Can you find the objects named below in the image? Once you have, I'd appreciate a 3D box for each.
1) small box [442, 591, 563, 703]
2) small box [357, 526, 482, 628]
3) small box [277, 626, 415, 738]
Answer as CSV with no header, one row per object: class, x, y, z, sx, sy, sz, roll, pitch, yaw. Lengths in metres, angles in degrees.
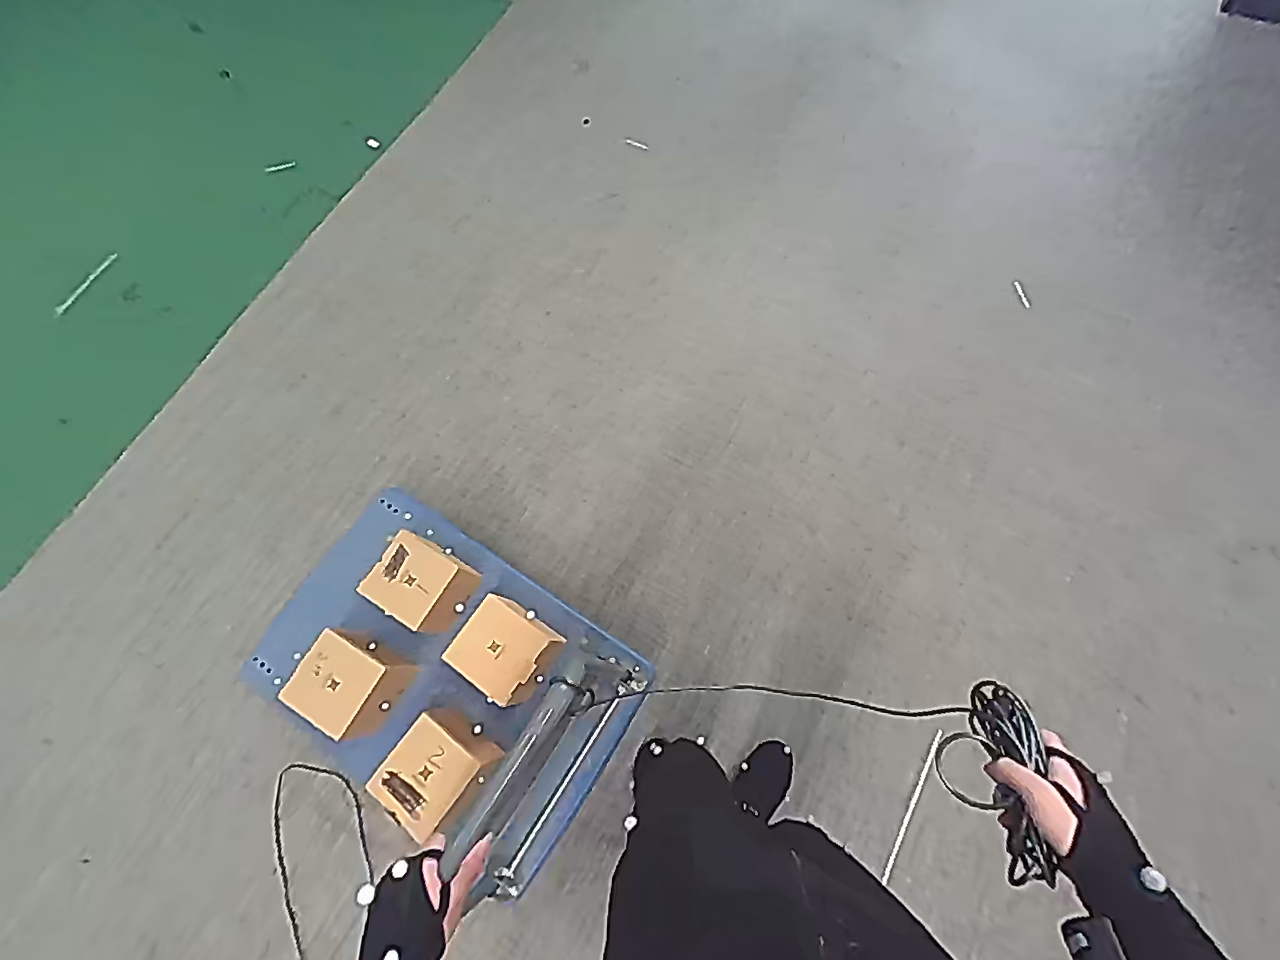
small box,-0.299,0.375,1.211,0.179,0.176,0.168,33,77,13
small box,-0.508,0.236,1.271,0.179,0.176,0.168,30,77,12
small box,-0.645,0.445,1.212,0.179,0.176,0.168,28,75,12
